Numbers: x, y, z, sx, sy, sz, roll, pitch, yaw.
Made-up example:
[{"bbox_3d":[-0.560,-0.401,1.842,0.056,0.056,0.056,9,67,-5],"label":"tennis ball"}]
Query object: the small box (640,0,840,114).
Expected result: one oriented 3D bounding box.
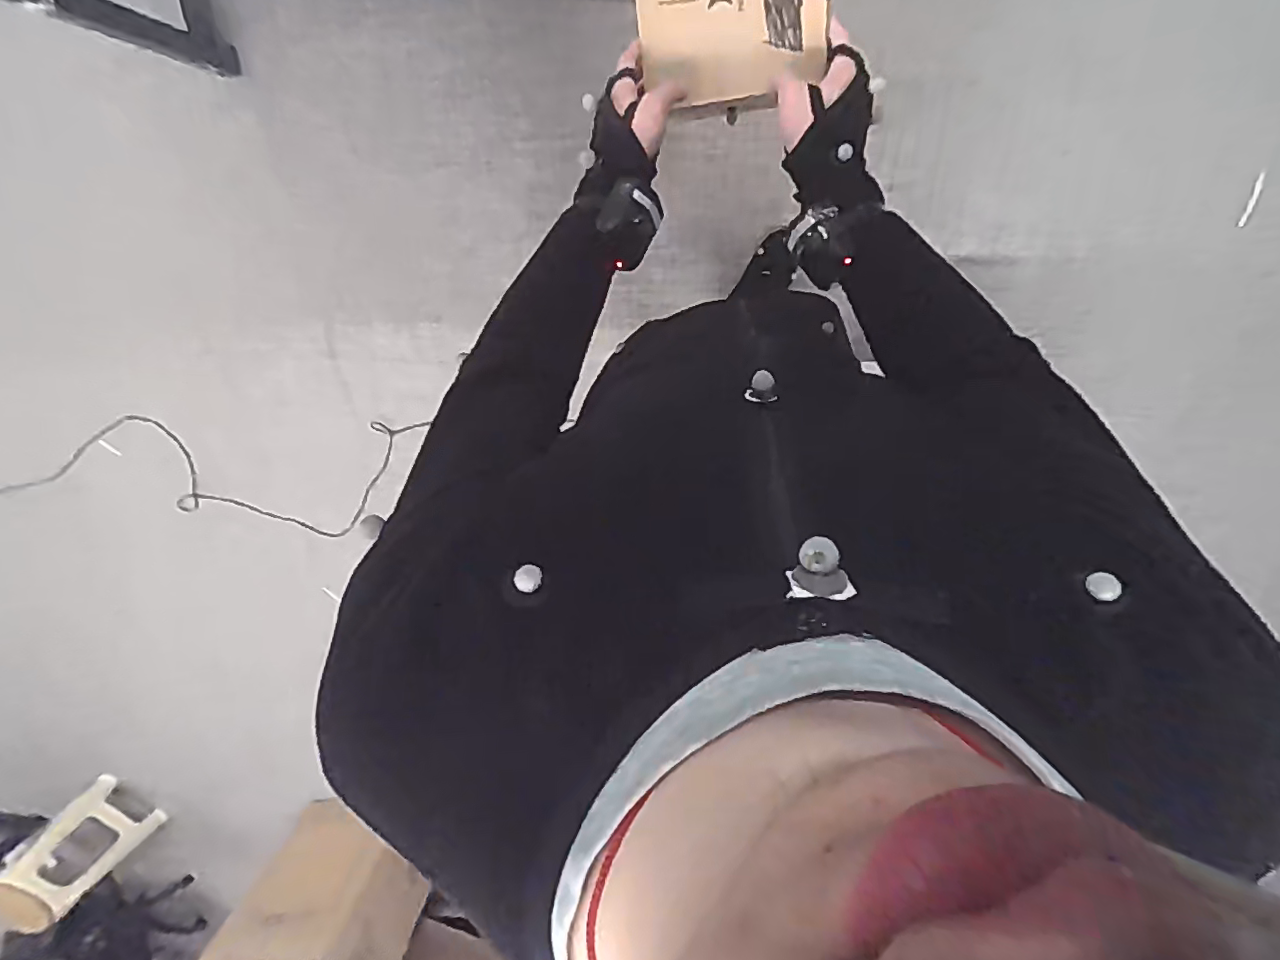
[{"bbox_3d":[0.100,-0.476,0.536,0.179,0.176,0.168,1,120,15],"label":"small box"}]
